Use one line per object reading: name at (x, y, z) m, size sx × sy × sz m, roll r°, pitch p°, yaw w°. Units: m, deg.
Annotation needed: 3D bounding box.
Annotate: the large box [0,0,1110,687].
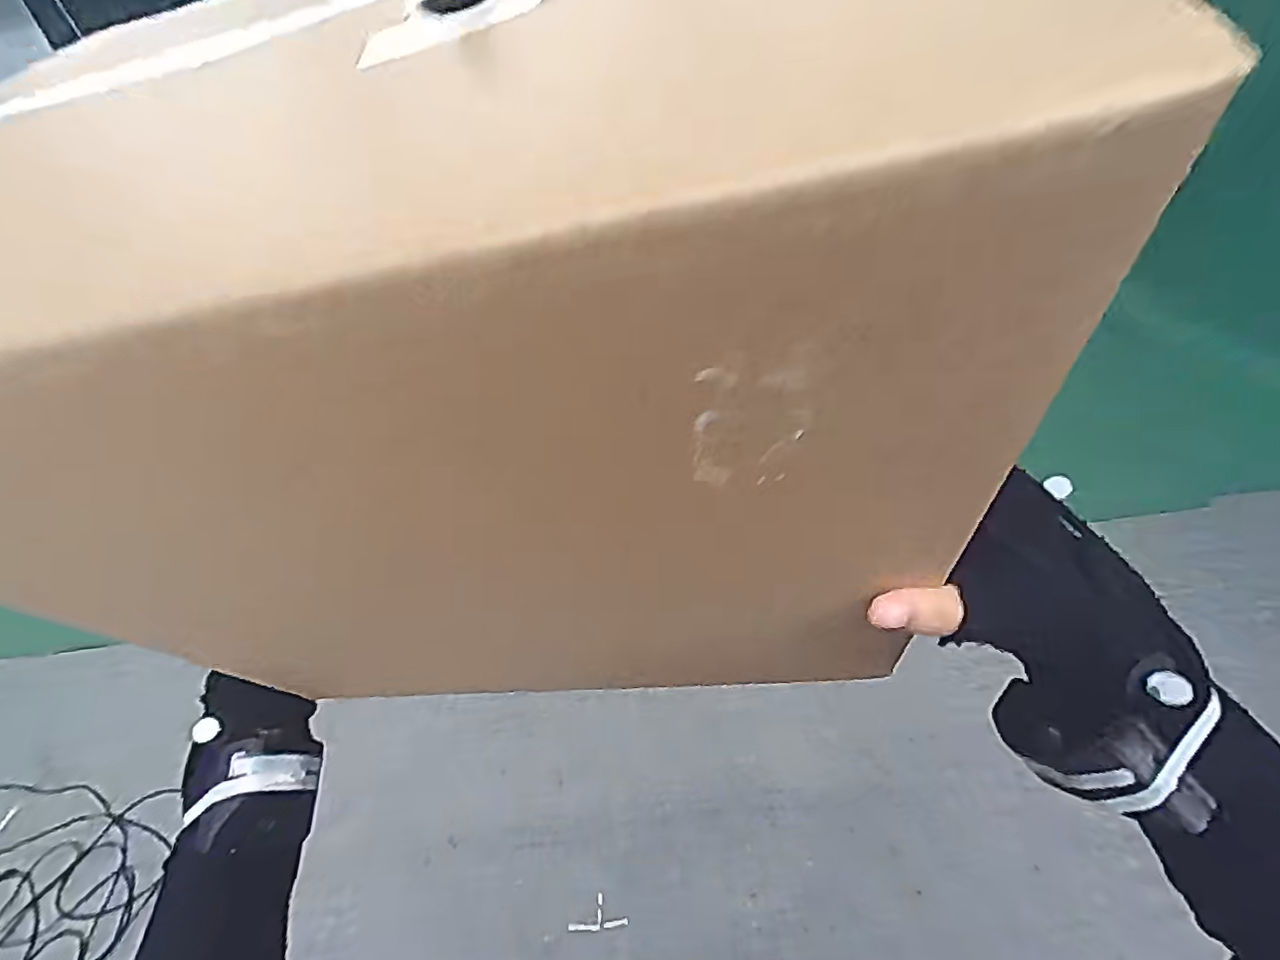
large box at (-0.074, -0.074, 0.336) m, size 0.408 × 0.320 × 0.320 m, roll -6°, pitch 56°, yaw 11°
